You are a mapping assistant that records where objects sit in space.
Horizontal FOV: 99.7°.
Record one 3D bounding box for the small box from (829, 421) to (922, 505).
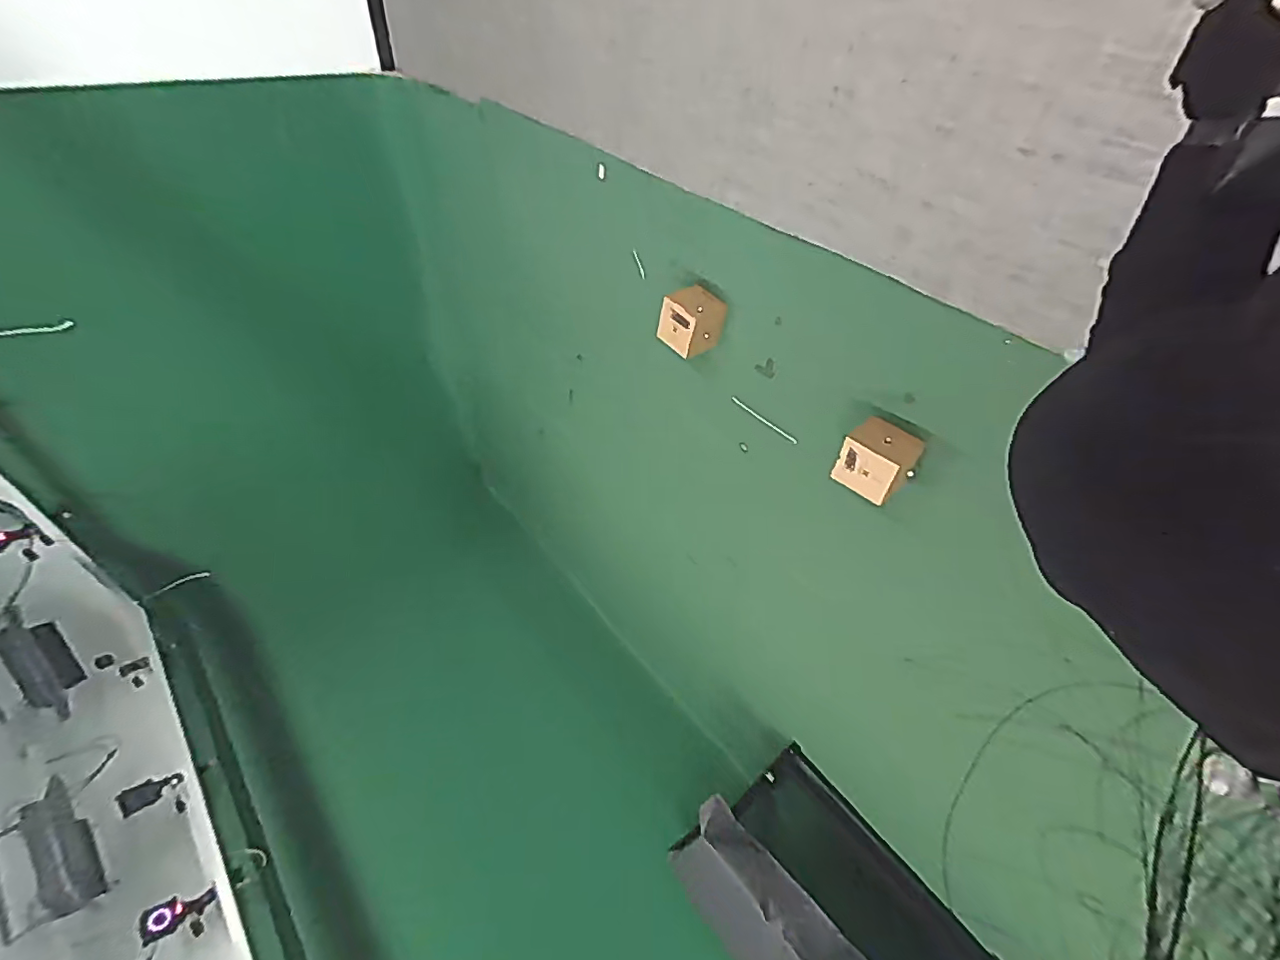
[{"bbox_3d":[0.720,-0.060,1.655,0.179,0.176,0.168,38,143,30],"label":"small box"}]
